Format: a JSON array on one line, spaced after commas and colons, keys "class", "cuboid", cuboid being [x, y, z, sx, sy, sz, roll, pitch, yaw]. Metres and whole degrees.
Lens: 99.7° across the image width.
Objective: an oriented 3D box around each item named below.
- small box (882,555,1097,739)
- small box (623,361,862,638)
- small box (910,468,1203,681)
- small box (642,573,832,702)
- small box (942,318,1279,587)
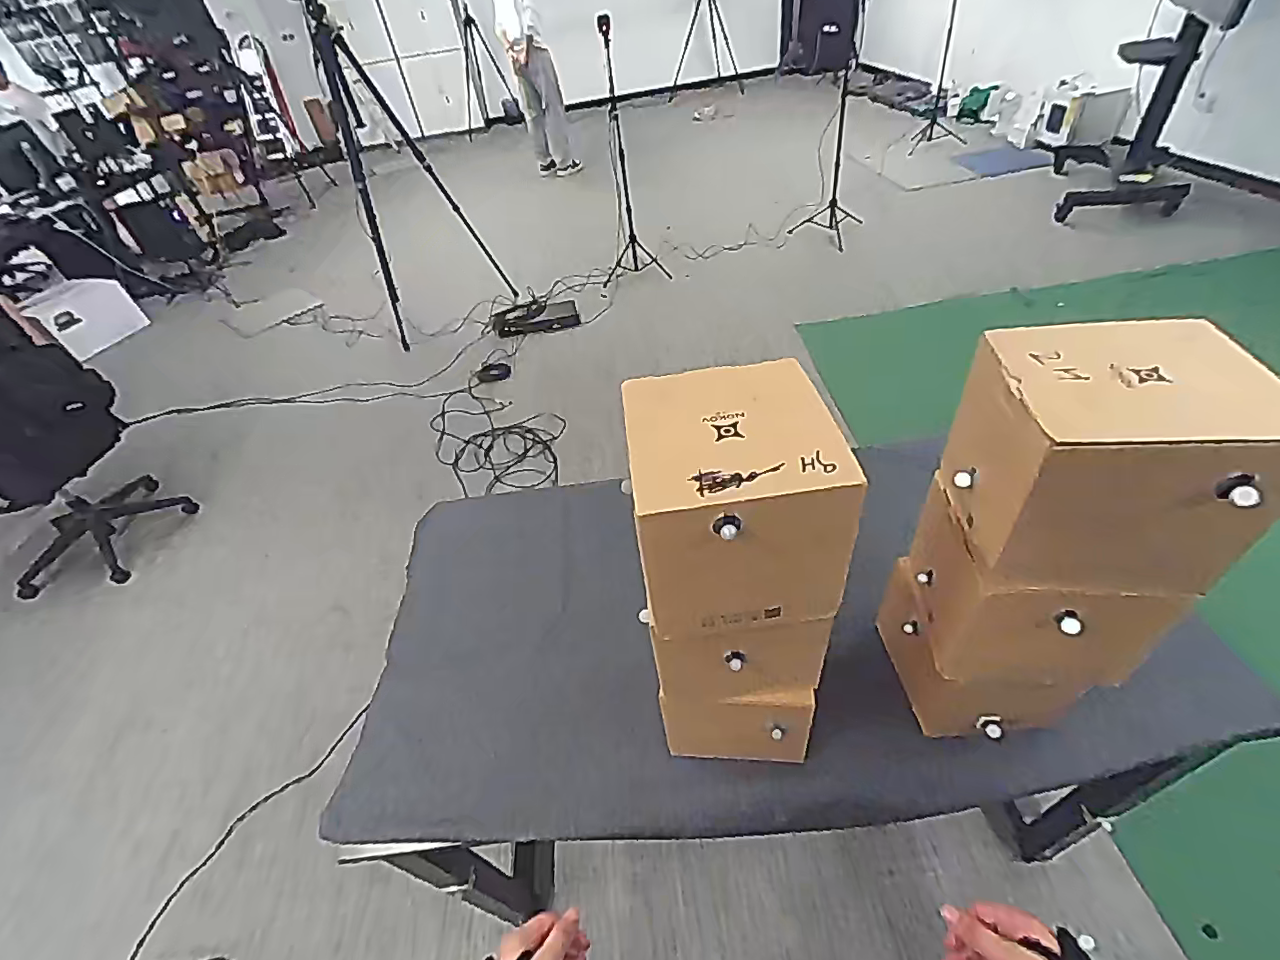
[{"class": "small box", "cuboid": [0.435, 0.208, 0.701, 0.168, 0.176, 0.179, -9, 43, 3]}, {"class": "small box", "cuboid": [0.078, 0.017, 0.491, 0.168, 0.176, 0.179, -8, 42, 2]}, {"class": "small box", "cuboid": [0.413, 0.101, 0.581, 0.179, 0.176, 0.168, -2, 43, 11]}, {"class": "small box", "cuboid": [0.097, 0.129, 0.609, 0.179, 0.176, 0.168, -8, 42, 3]}, {"class": "small box", "cuboid": [0.393, -0.021, 0.471, 0.179, 0.176, 0.168, -1, 43, 13]}]
